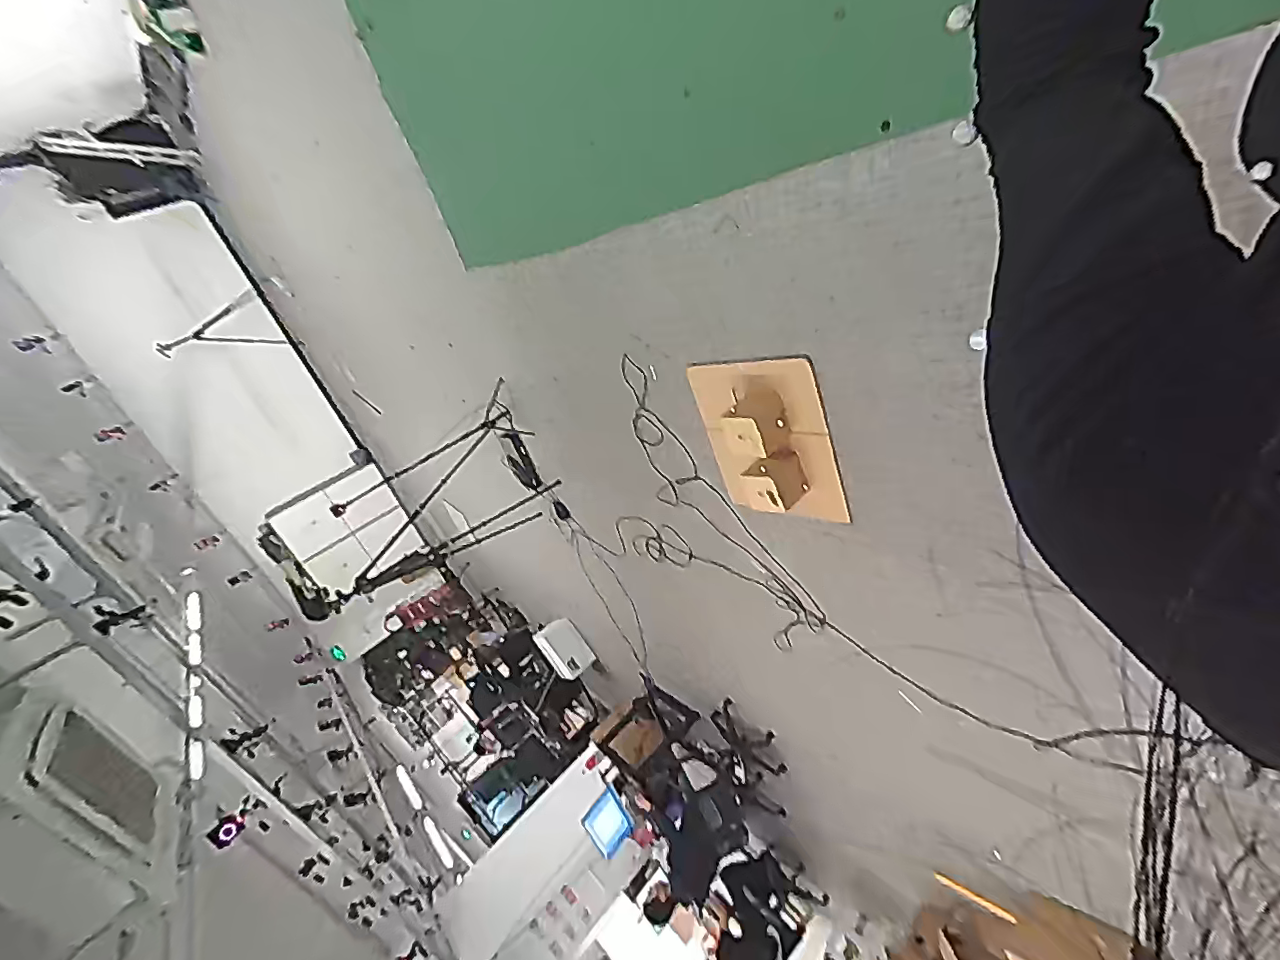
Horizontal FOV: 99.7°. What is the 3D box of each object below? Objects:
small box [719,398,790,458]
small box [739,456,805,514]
[{"bbox_3d":[0.432,-0.200,2.033,0.179,0.176,0.168,10,131,51],"label":"small box"},{"bbox_3d":[0.526,0.014,2.126,0.179,0.176,0.168,4,126,54],"label":"small box"}]
